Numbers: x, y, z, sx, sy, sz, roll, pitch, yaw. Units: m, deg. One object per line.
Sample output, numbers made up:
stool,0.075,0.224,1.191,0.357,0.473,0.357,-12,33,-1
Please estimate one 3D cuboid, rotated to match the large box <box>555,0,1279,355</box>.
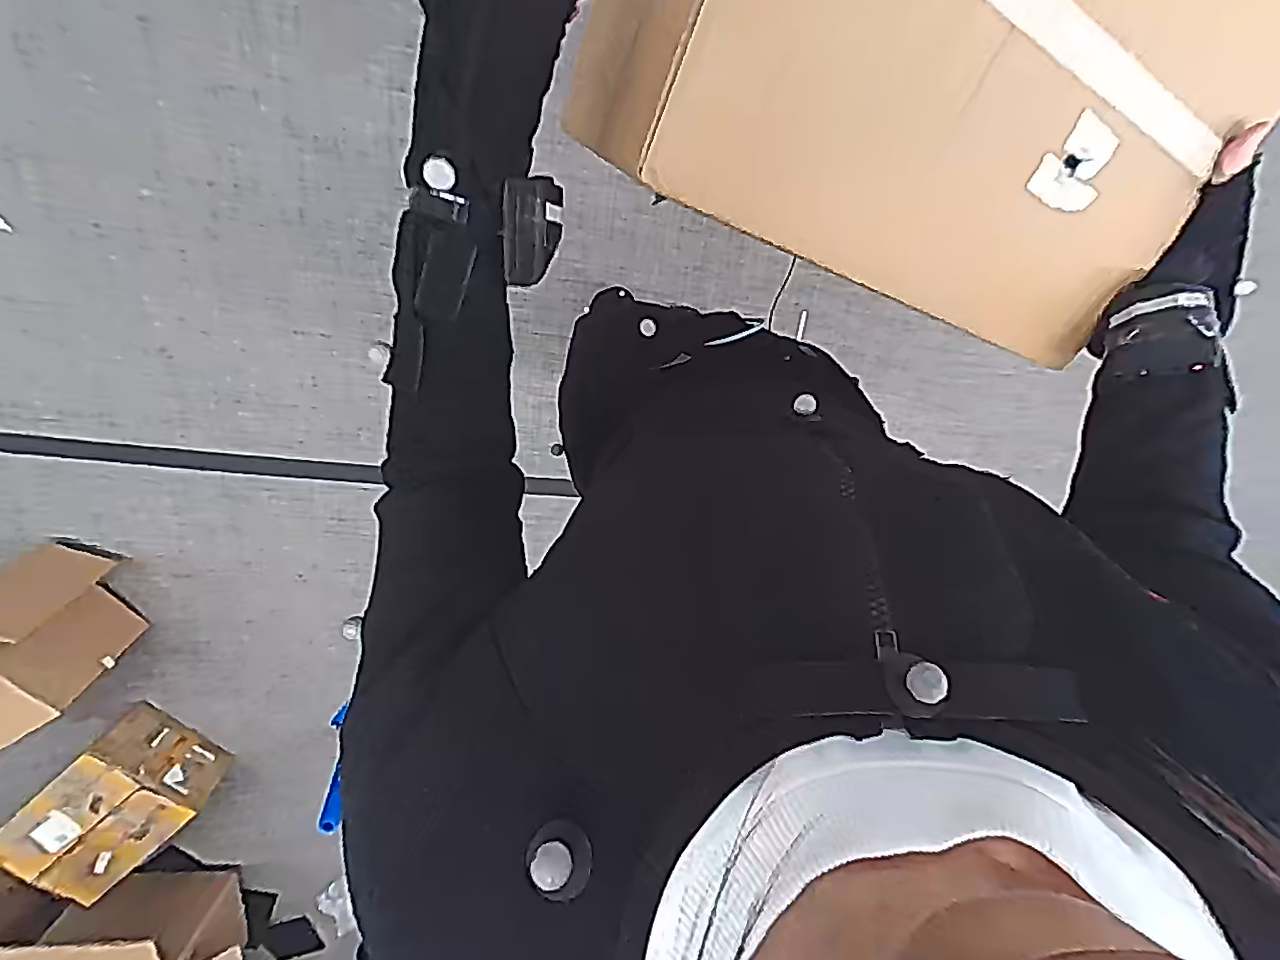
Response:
large box,0.178,-0.343,0.433,0.408,0.320,0.320,10,123,-24
